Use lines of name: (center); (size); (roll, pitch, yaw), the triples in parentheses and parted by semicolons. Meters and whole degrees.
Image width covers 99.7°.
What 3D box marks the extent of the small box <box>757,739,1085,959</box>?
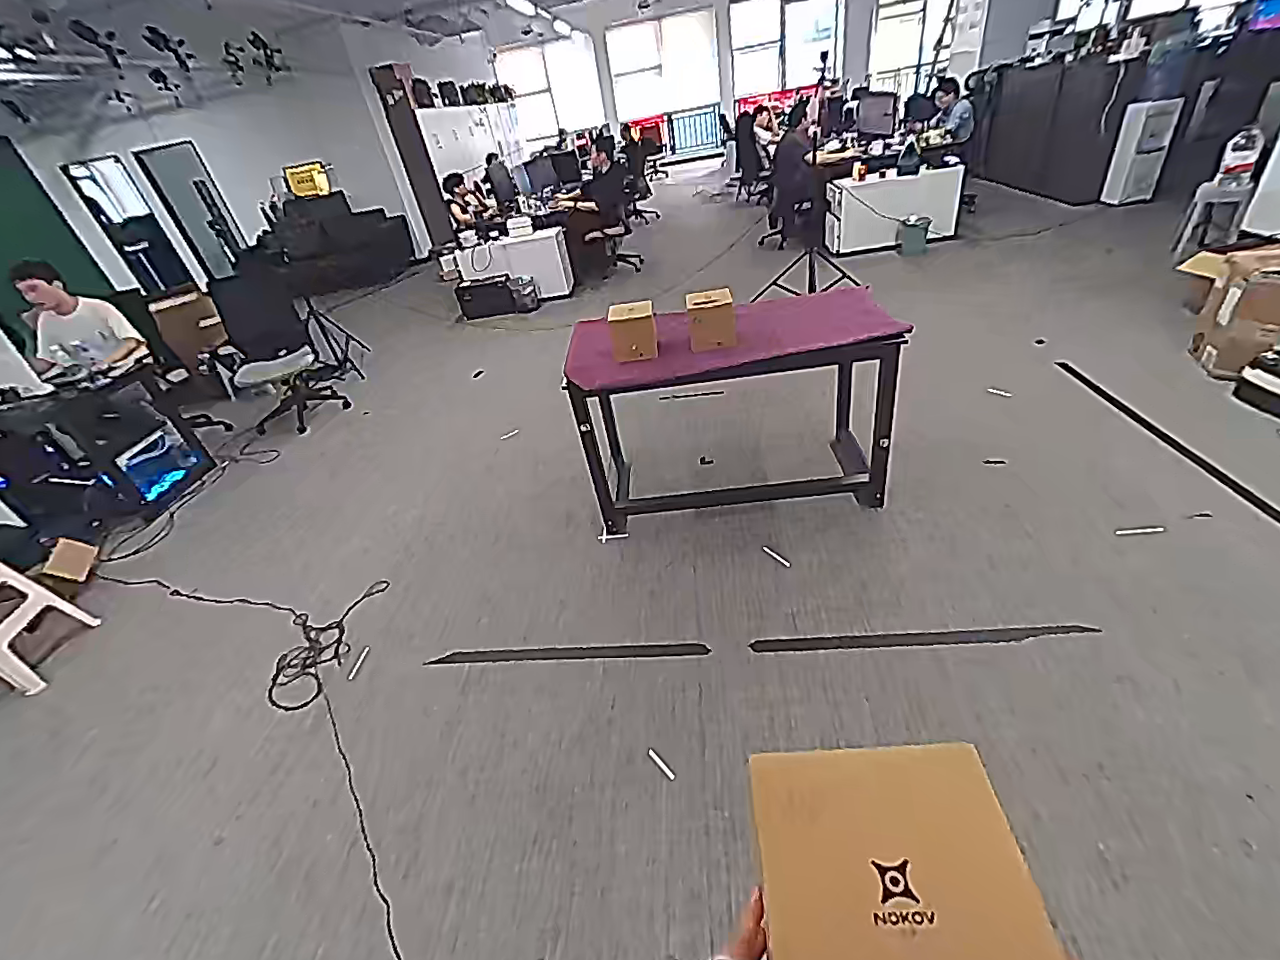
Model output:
small box: (0.176, 0.311, 0.385); (0.168, 0.176, 0.179); (-6, 41, 6)

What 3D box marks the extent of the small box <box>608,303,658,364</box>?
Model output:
small box: (-0.024, -0.560, 2.066); (0.168, 0.176, 0.179); (-7, 35, 5)
